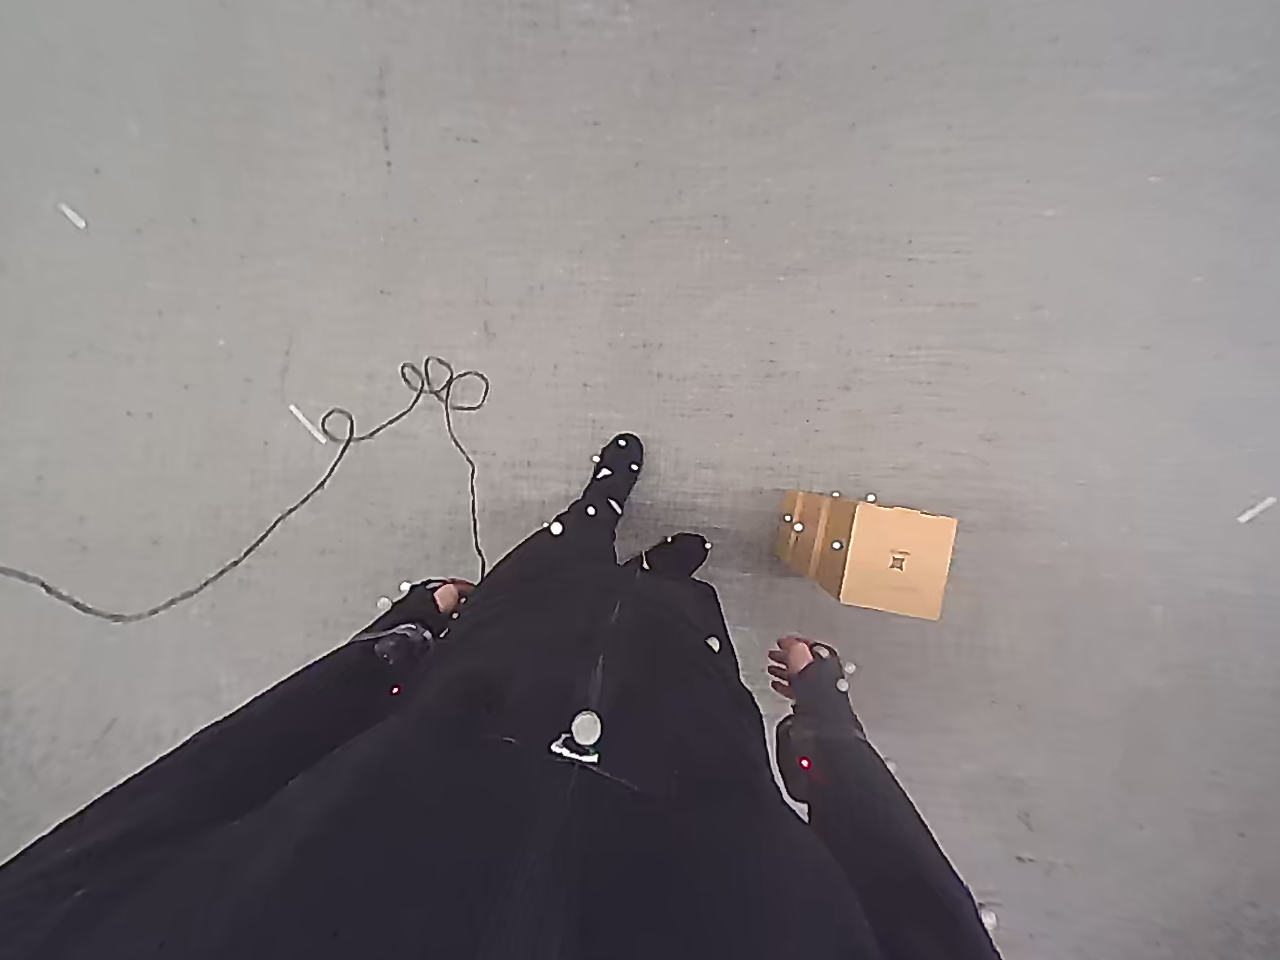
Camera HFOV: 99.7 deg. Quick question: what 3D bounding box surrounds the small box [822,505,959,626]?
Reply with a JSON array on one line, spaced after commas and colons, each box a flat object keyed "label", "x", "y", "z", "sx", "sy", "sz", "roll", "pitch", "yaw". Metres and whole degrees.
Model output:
[{"label": "small box", "x": 0.441, "y": 0.143, "z": 0.978, "sx": 0.168, "sy": 0.176, "sz": 0.179, "roll": 9, "pitch": 92, "yaw": 5}]

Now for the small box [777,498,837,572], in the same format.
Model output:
[{"label": "small box", "x": 0.445, "y": 0.139, "z": 1.304, "sx": 0.179, "sy": 0.176, "sz": 0.168, "roll": 10, "pitch": 91, "yaw": 3}]

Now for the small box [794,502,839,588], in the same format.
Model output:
[{"label": "small box", "x": 0.443, "y": 0.143, "z": 1.139, "sx": 0.179, "sy": 0.176, "sz": 0.168, "roll": 11, "pitch": 91, "yaw": 4}]
